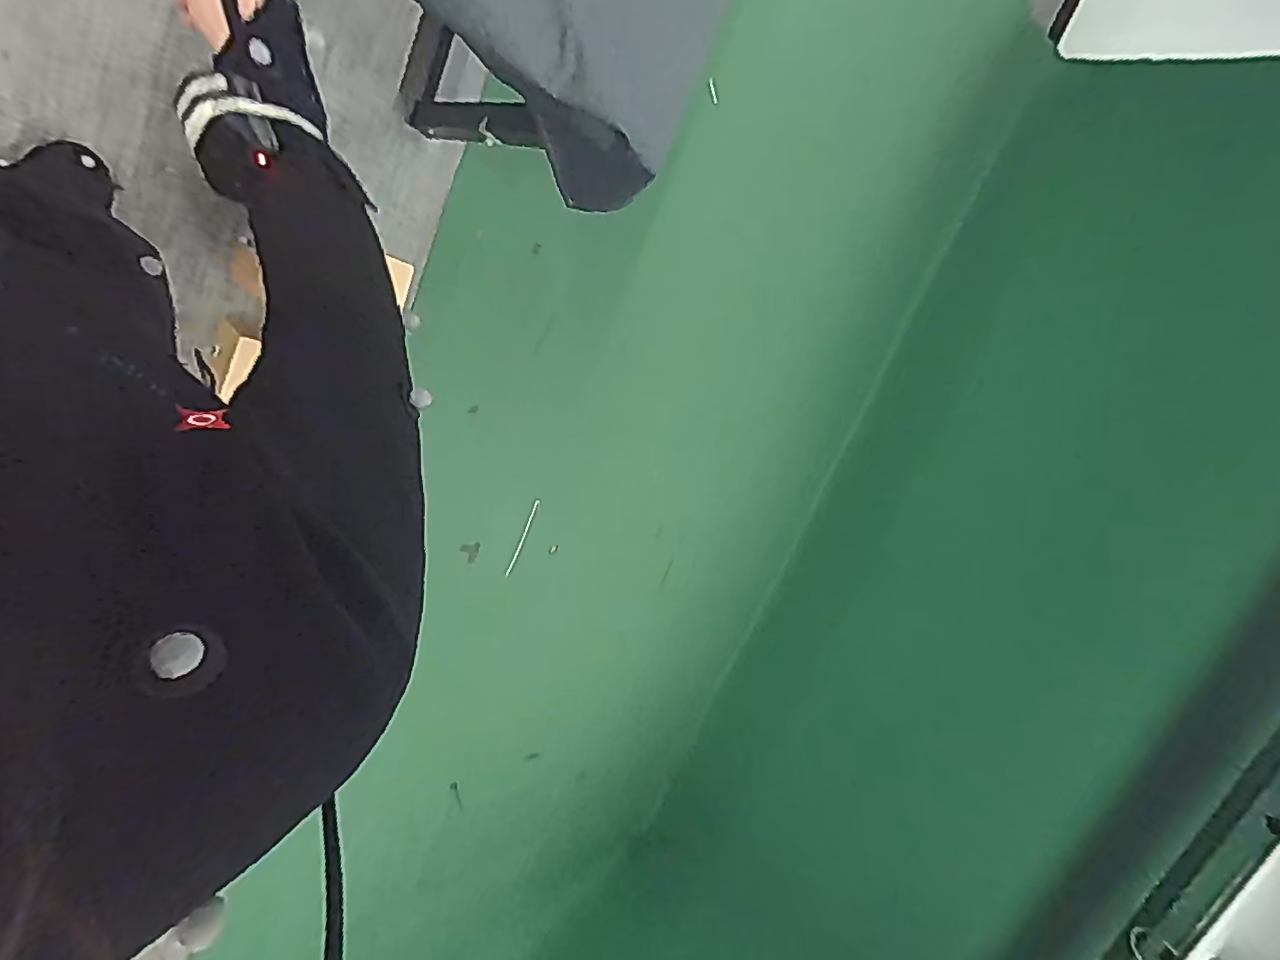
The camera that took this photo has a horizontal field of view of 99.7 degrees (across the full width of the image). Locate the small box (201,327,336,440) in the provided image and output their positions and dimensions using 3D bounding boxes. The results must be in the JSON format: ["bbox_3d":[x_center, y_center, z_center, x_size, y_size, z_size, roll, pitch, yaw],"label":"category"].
[{"bbox_3d":[-0.781,-0.204,1.135,0.179,0.176,0.168,14,102,-51],"label":"small box"}]

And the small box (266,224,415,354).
[{"bbox_3d":[-0.560,-0.356,1.009,0.179,0.176,0.168,6,110,-51],"label":"small box"}]

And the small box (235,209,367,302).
[{"bbox_3d":[-0.684,-0.428,1.091,0.179,0.176,0.168,9,106,-52],"label":"small box"}]
